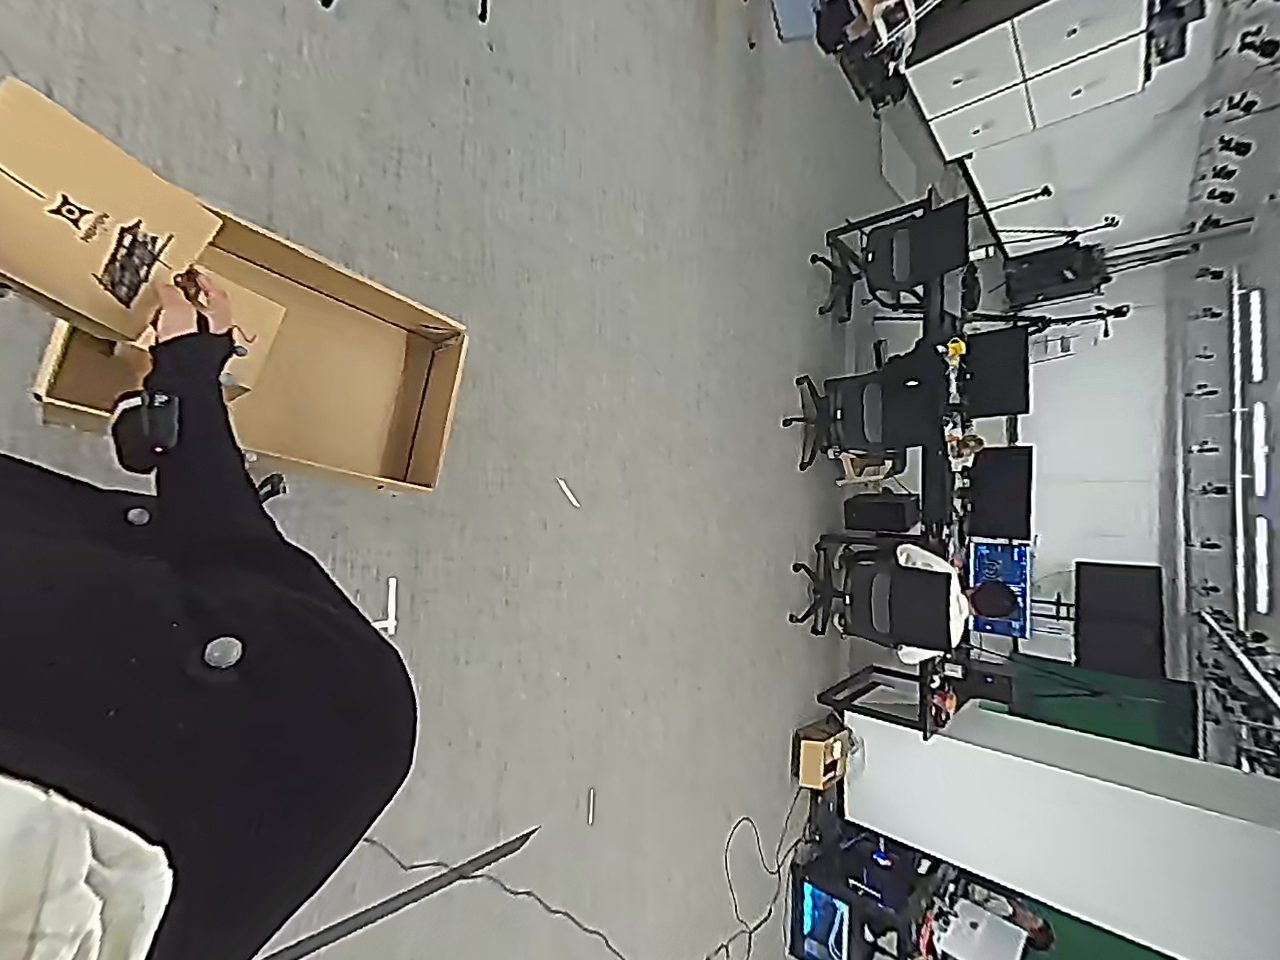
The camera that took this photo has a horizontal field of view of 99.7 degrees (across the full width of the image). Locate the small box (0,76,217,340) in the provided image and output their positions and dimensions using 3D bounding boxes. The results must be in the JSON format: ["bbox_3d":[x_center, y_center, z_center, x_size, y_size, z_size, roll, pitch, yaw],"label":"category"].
[{"bbox_3d":[-0.614,-0.272,0.573,0.179,0.176,0.168,41,67,-52],"label":"small box"}]
